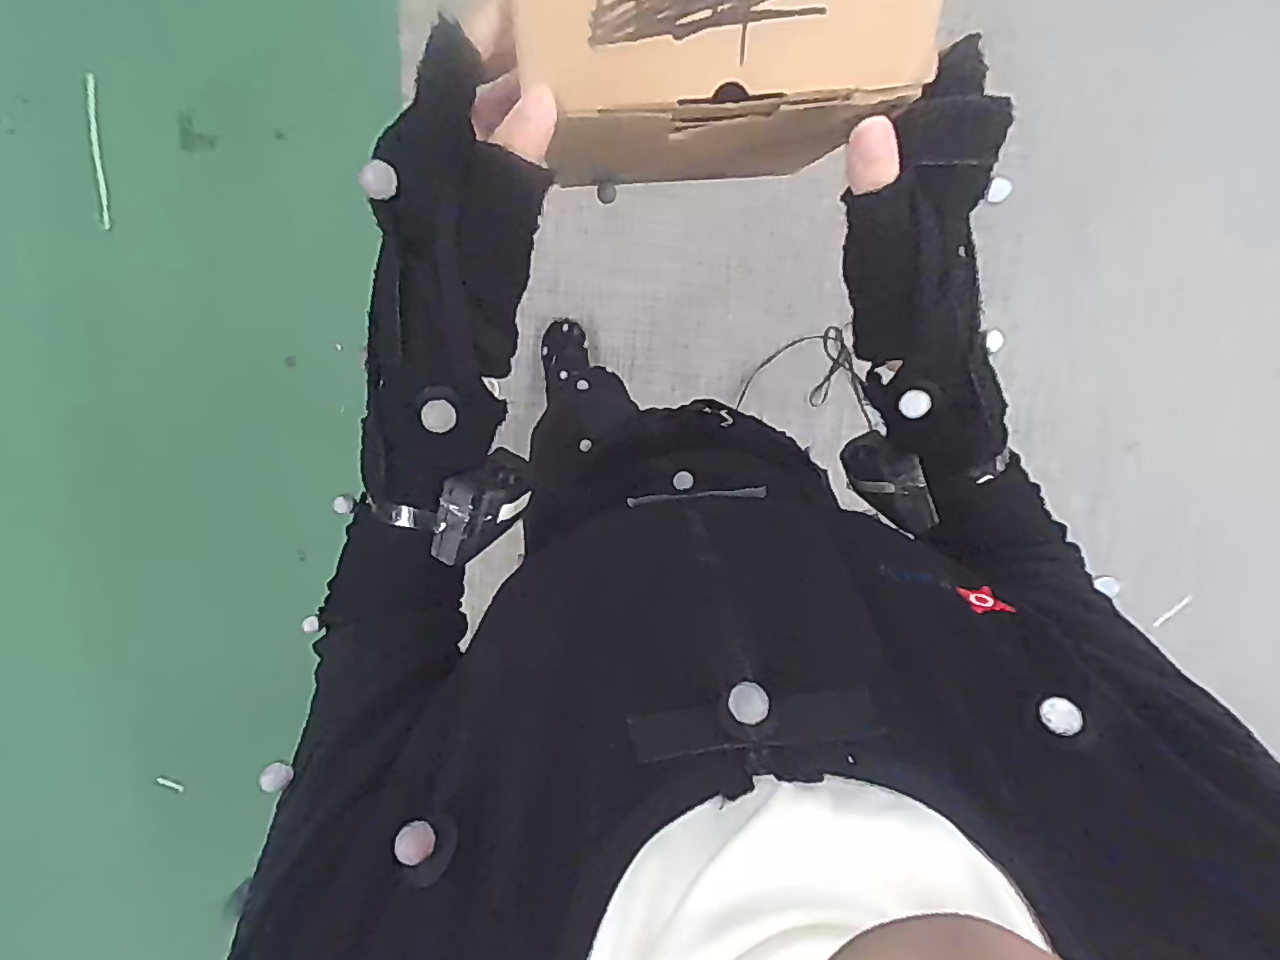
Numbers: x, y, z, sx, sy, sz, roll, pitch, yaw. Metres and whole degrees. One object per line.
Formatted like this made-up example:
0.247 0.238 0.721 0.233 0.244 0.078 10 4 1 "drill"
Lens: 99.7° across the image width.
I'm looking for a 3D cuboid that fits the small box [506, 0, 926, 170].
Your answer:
0.026 -0.265 0.266 0.168 0.176 0.179 -4 109 -1 "small box"
